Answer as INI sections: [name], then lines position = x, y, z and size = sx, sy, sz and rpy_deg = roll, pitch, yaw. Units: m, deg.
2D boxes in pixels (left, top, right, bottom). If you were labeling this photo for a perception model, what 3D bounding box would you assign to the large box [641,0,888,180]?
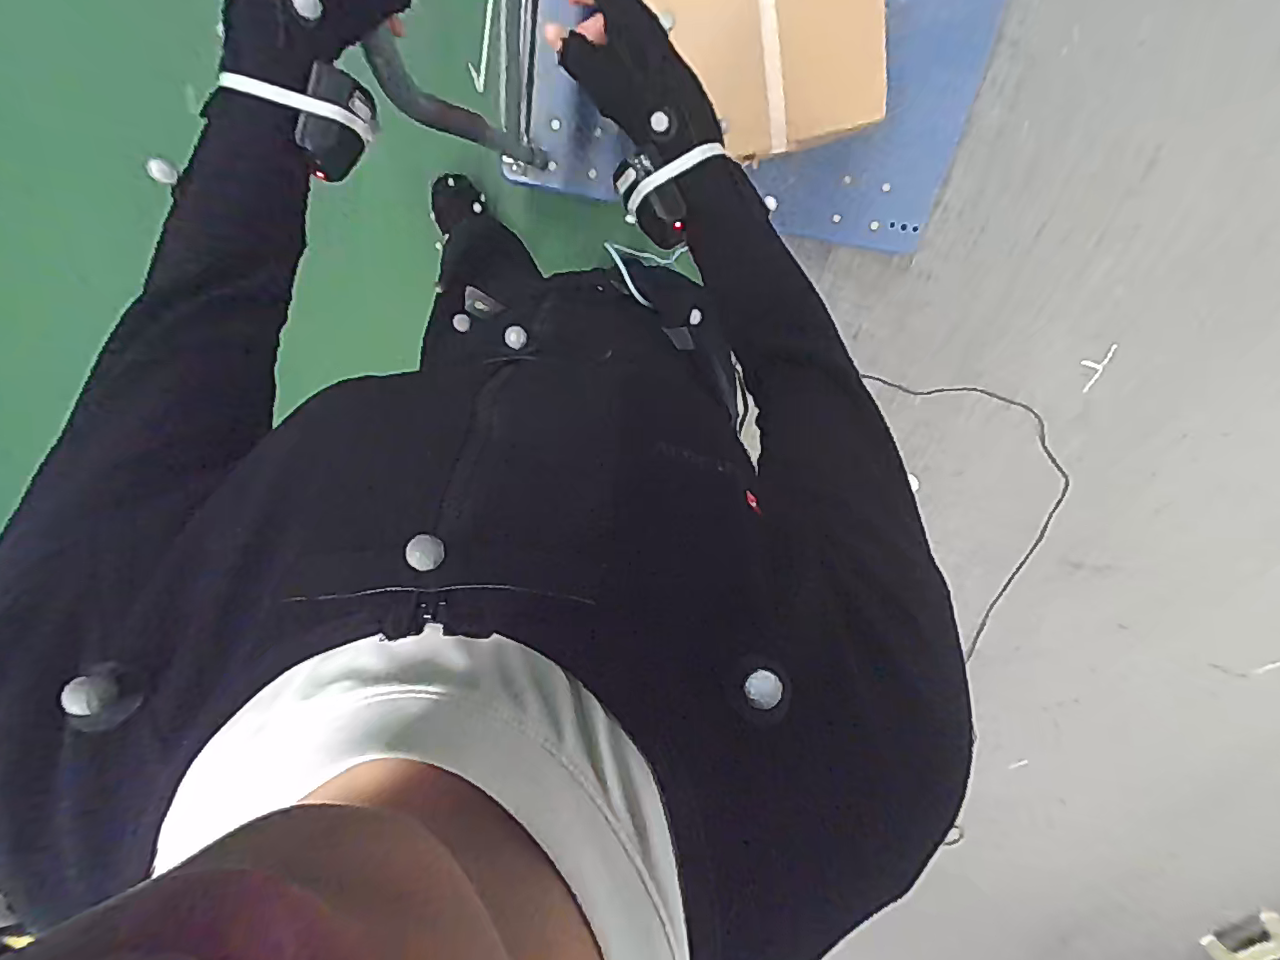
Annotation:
[large box]
position = 0.164, -0.735, 0.840
size = 0.320, 0.320, 0.408
rpy_deg = -11, 115, 6
